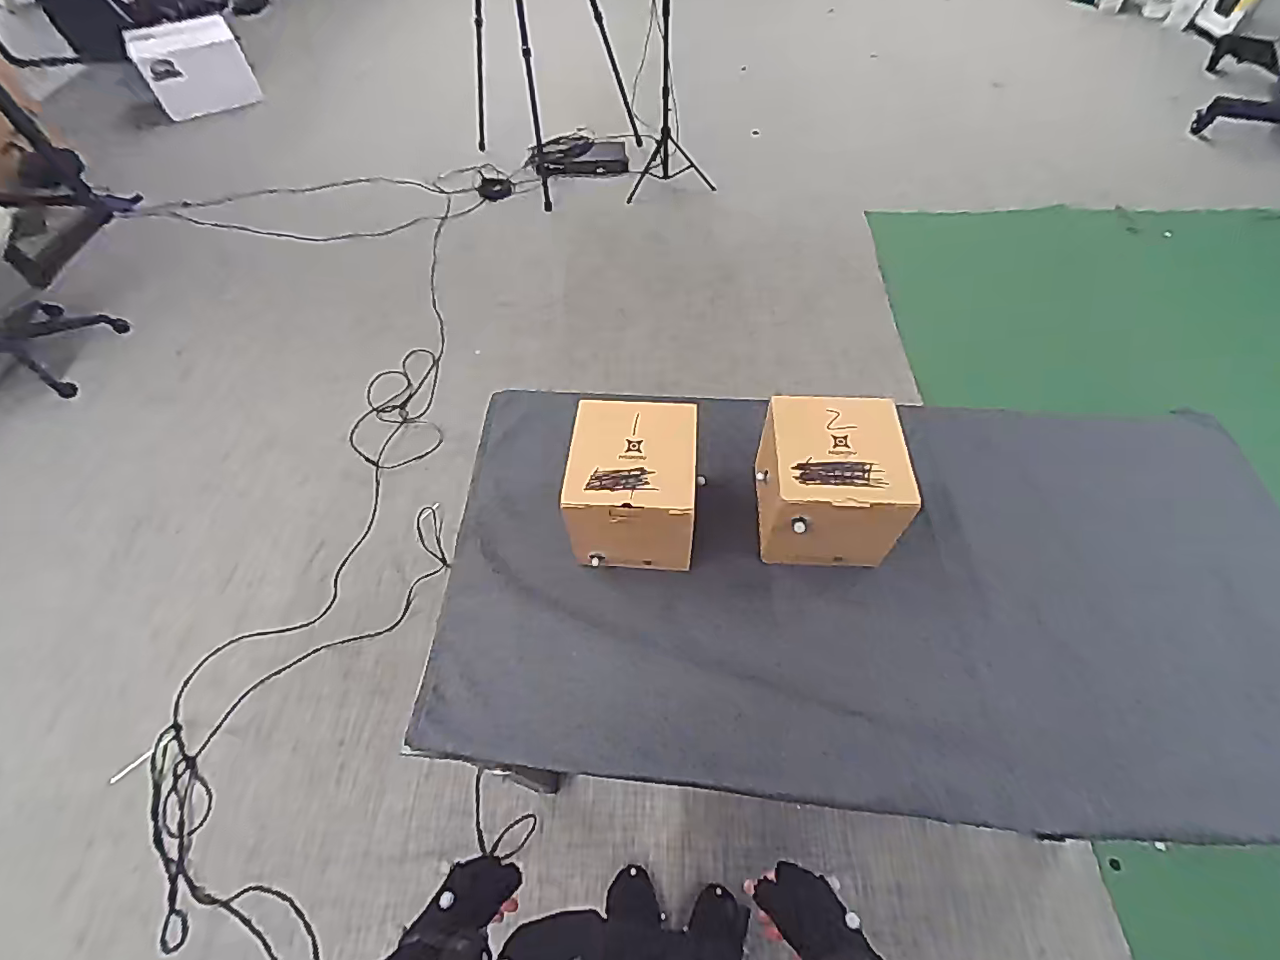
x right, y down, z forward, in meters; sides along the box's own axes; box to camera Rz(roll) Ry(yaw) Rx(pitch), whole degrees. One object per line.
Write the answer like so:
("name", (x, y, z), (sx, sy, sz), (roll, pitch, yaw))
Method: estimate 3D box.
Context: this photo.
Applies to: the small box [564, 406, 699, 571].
("small box", (-0.003, 0.016, 0.771), (0.168, 0.176, 0.179), (3, 55, 4))
